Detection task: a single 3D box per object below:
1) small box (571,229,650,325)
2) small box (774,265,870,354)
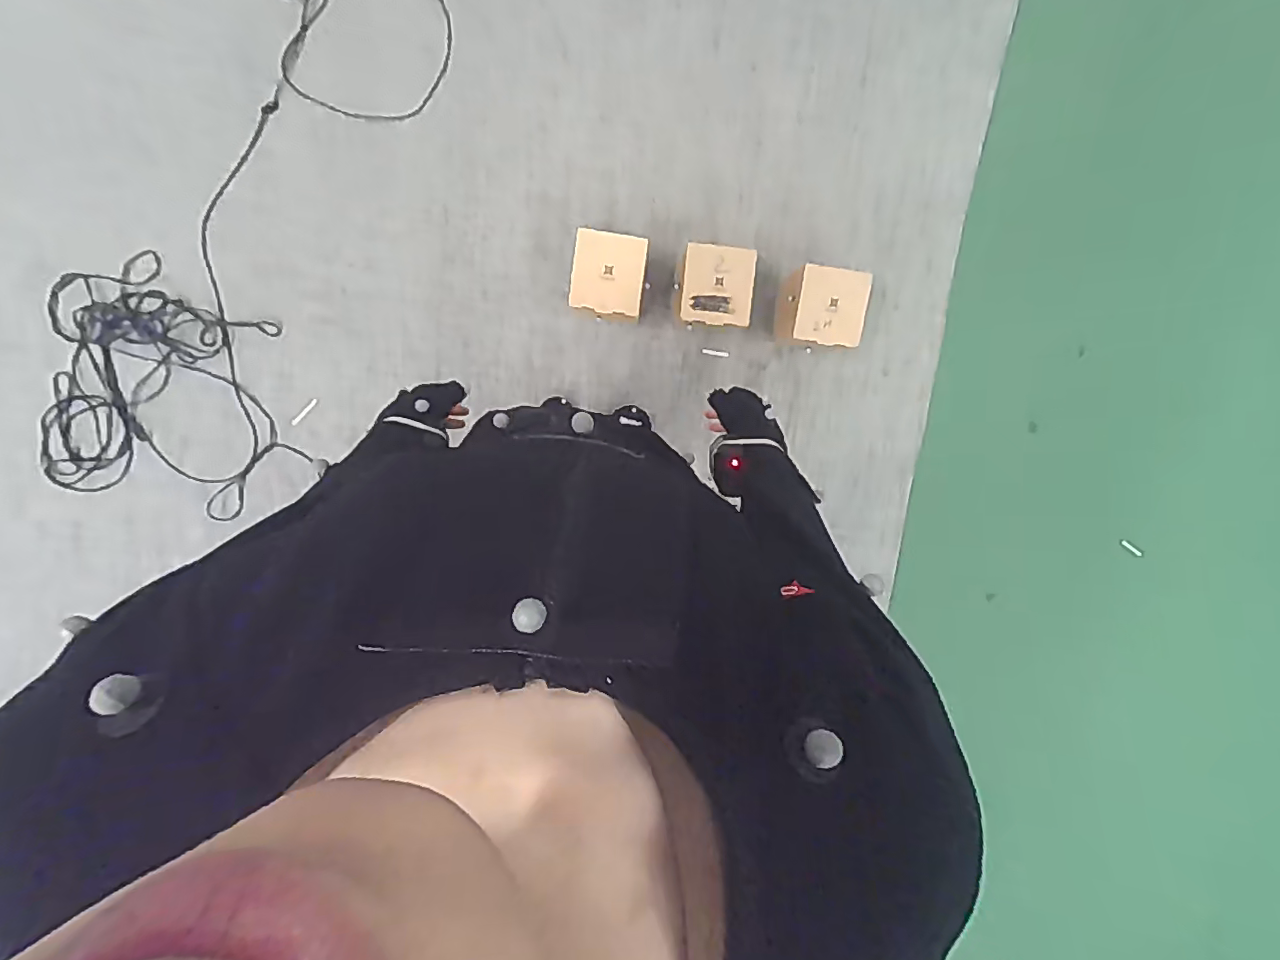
[{"bbox_3d":[-0.073,-0.491,1.331,0.168,0.176,0.179,8,99,-3],"label":"small box"},{"bbox_3d":[0.451,-0.423,1.366,0.168,0.176,0.179,8,99,-3],"label":"small box"}]
